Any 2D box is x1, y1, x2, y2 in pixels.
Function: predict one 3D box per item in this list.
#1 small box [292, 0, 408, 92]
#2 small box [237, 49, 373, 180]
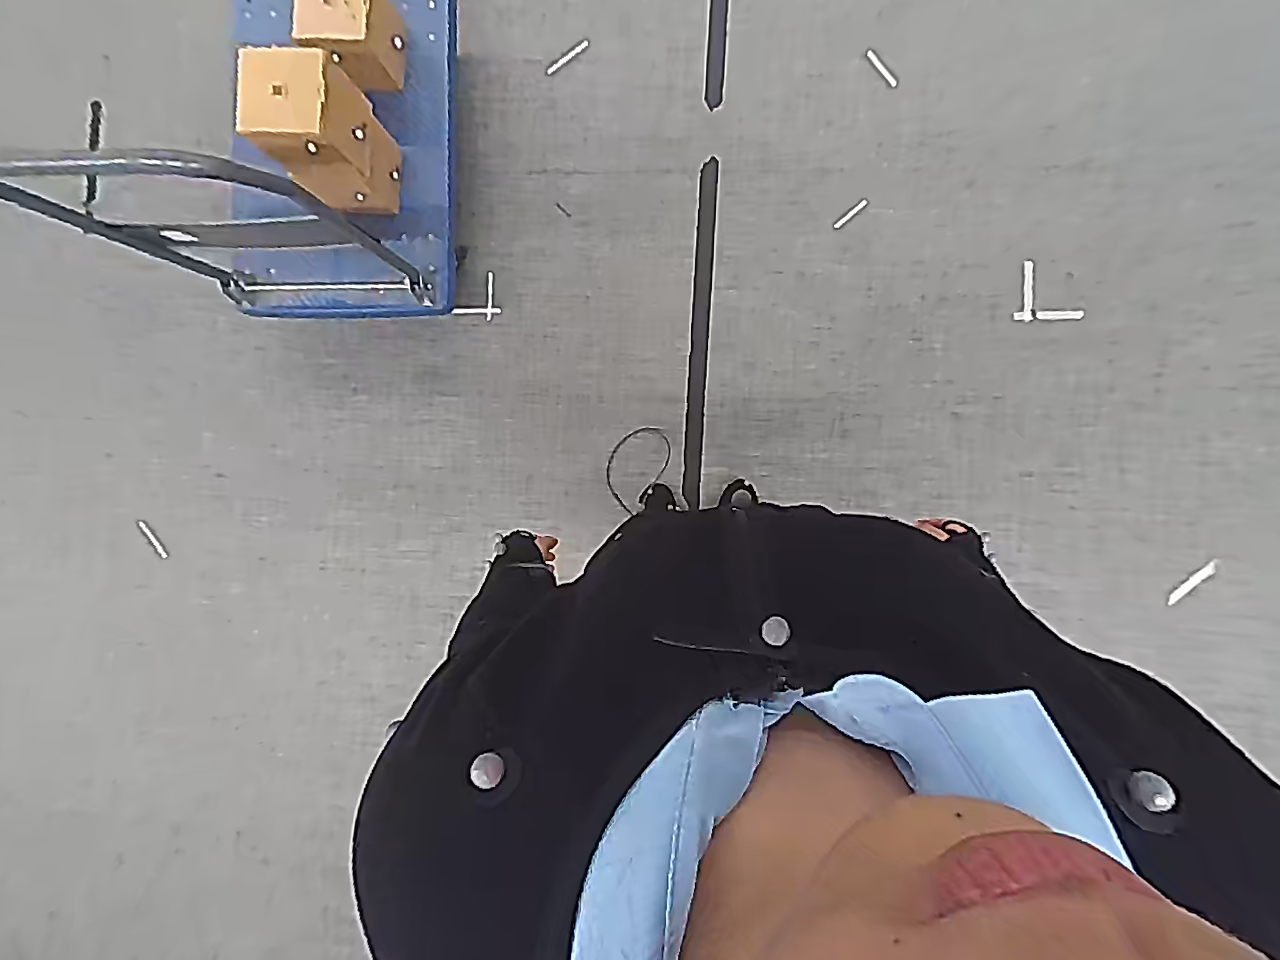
[{"bbox_3d":[-0.681,-1.059,1.283,0.179,0.176,0.168,5,92,4],"label":"small box"},{"bbox_3d":[-0.689,-0.750,1.124,0.179,0.176,0.168,3,91,3],"label":"small box"}]
